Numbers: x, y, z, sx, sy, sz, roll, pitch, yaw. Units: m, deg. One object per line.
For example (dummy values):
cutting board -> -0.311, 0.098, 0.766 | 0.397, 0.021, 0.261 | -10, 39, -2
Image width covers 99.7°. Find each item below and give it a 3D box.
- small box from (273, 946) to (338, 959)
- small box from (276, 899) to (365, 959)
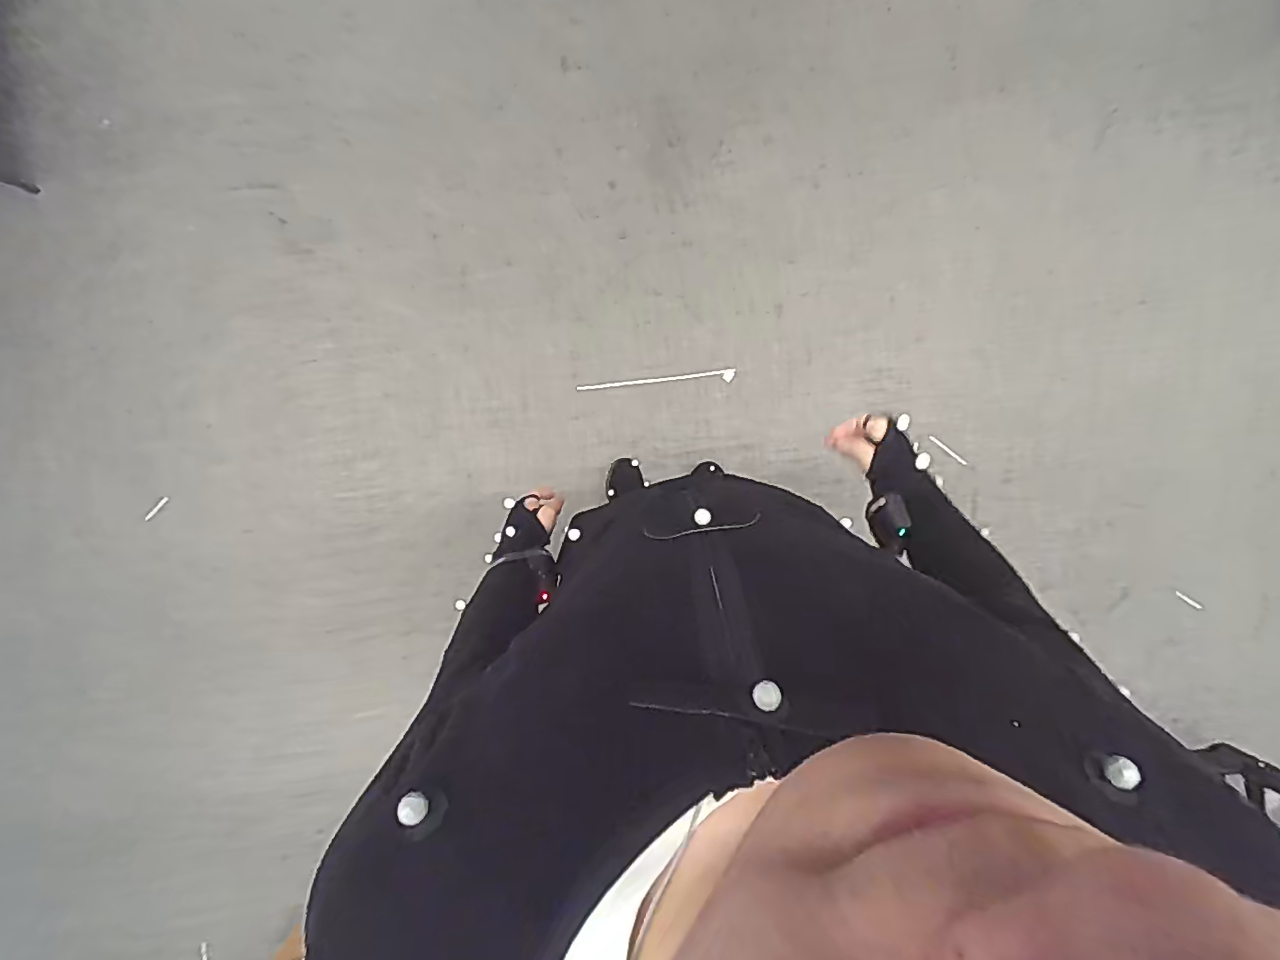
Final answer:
small box -> -0.928, 1.399, 1.439 | 0.168, 0.176, 0.179 | -2, 92, 0
small box -> -0.938, 1.395, 1.602 | 0.168, 0.176, 0.179 | -4, 92, 0
